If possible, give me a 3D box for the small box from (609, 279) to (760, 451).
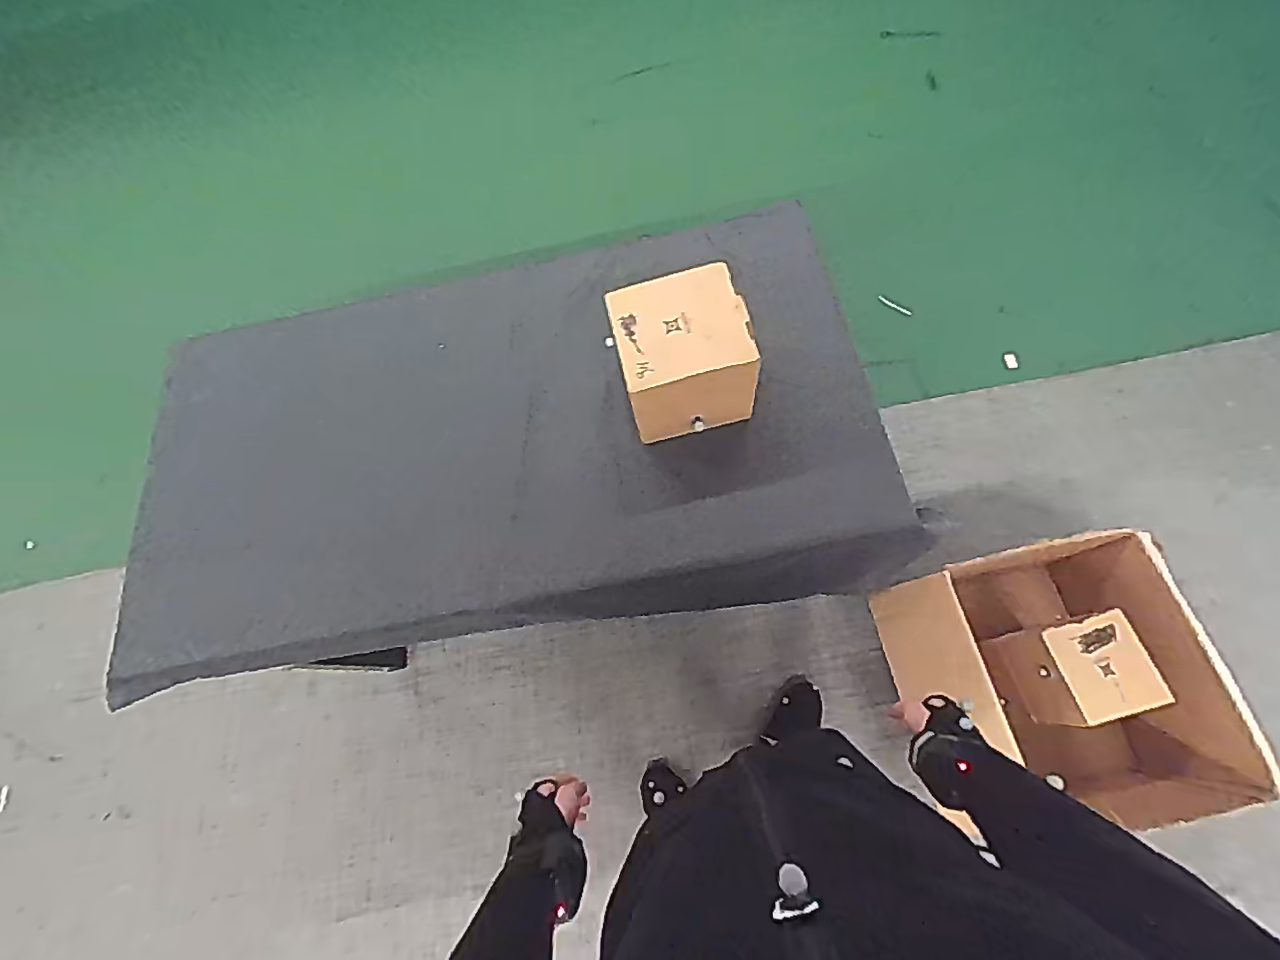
[{"bbox_3d":[0.065,-0.164,0.814,0.179,0.176,0.168,-16,69,1],"label":"small box"}]
